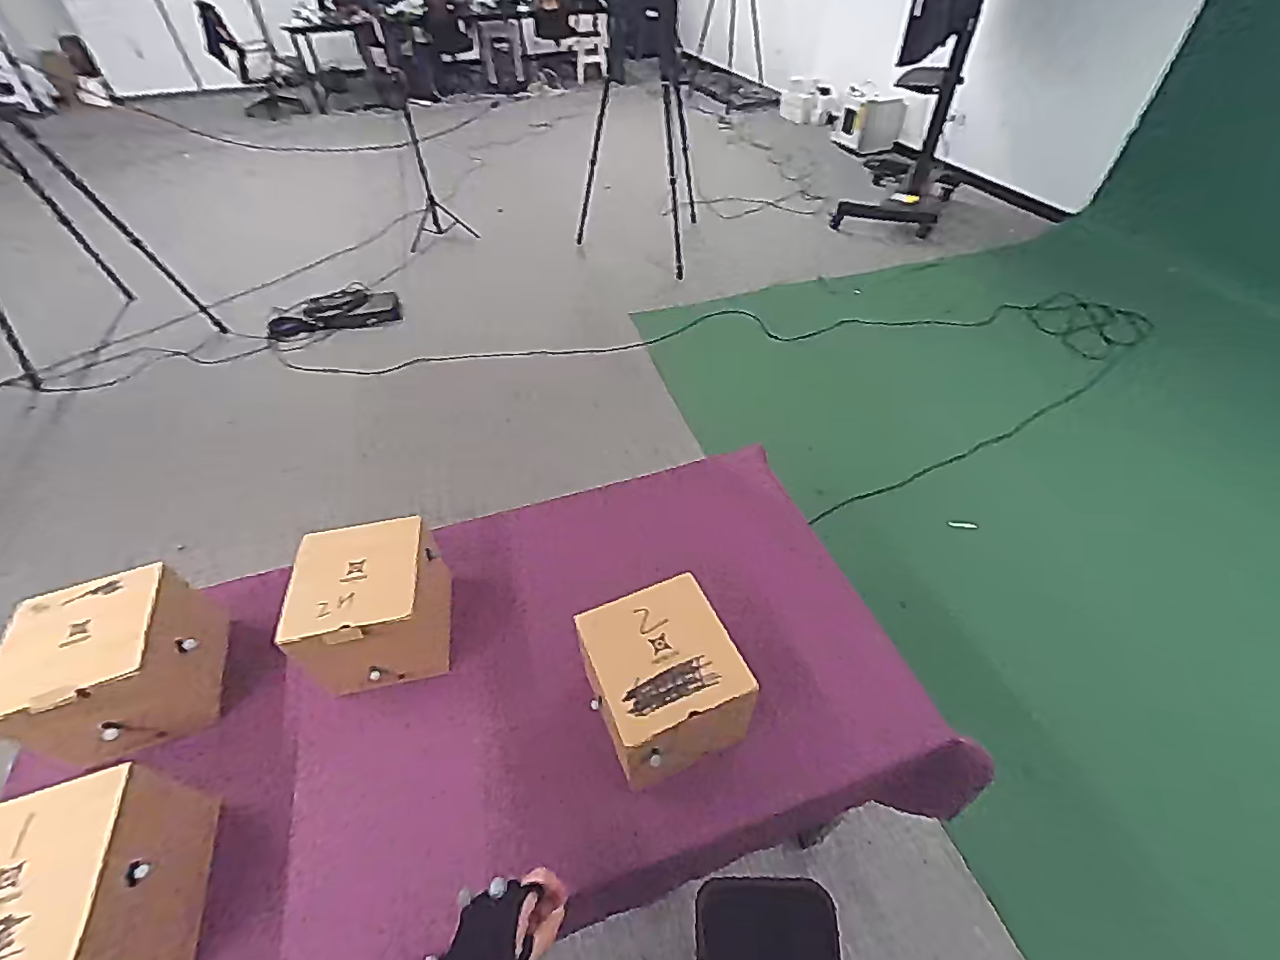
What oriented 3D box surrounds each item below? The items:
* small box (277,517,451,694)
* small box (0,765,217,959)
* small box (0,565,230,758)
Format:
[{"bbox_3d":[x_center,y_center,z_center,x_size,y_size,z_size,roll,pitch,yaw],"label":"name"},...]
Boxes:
[{"bbox_3d":[-0.383,0.183,0.790,0.168,0.176,0.179,-10,47,-7],"label":"small box"},{"bbox_3d":[-0.583,0.435,0.558,0.168,0.176,0.179,-15,46,-13],"label":"small box"},{"bbox_3d":[-0.698,0.253,0.736,0.168,0.176,0.179,-18,49,-15],"label":"small box"}]
